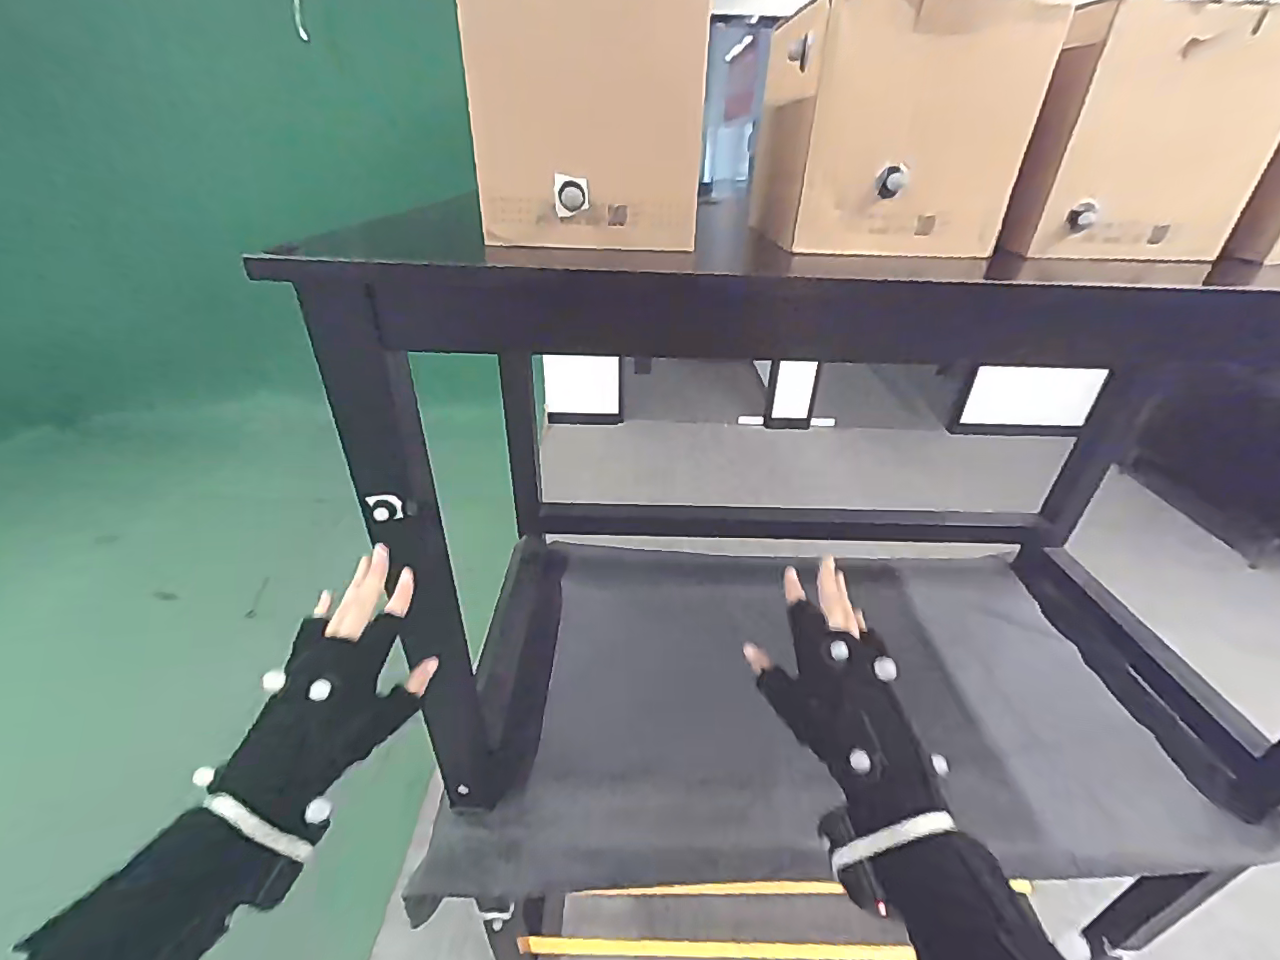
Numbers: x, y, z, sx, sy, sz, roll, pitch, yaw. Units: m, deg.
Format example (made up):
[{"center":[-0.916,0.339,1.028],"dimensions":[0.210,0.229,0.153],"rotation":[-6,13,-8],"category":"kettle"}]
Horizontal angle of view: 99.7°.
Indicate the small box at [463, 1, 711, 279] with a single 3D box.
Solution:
[{"center":[-0.038,-0.280,0.464],"dimensions":[0.168,0.176,0.179],"rotation":[-1,33,-2],"category":"small box"}]
